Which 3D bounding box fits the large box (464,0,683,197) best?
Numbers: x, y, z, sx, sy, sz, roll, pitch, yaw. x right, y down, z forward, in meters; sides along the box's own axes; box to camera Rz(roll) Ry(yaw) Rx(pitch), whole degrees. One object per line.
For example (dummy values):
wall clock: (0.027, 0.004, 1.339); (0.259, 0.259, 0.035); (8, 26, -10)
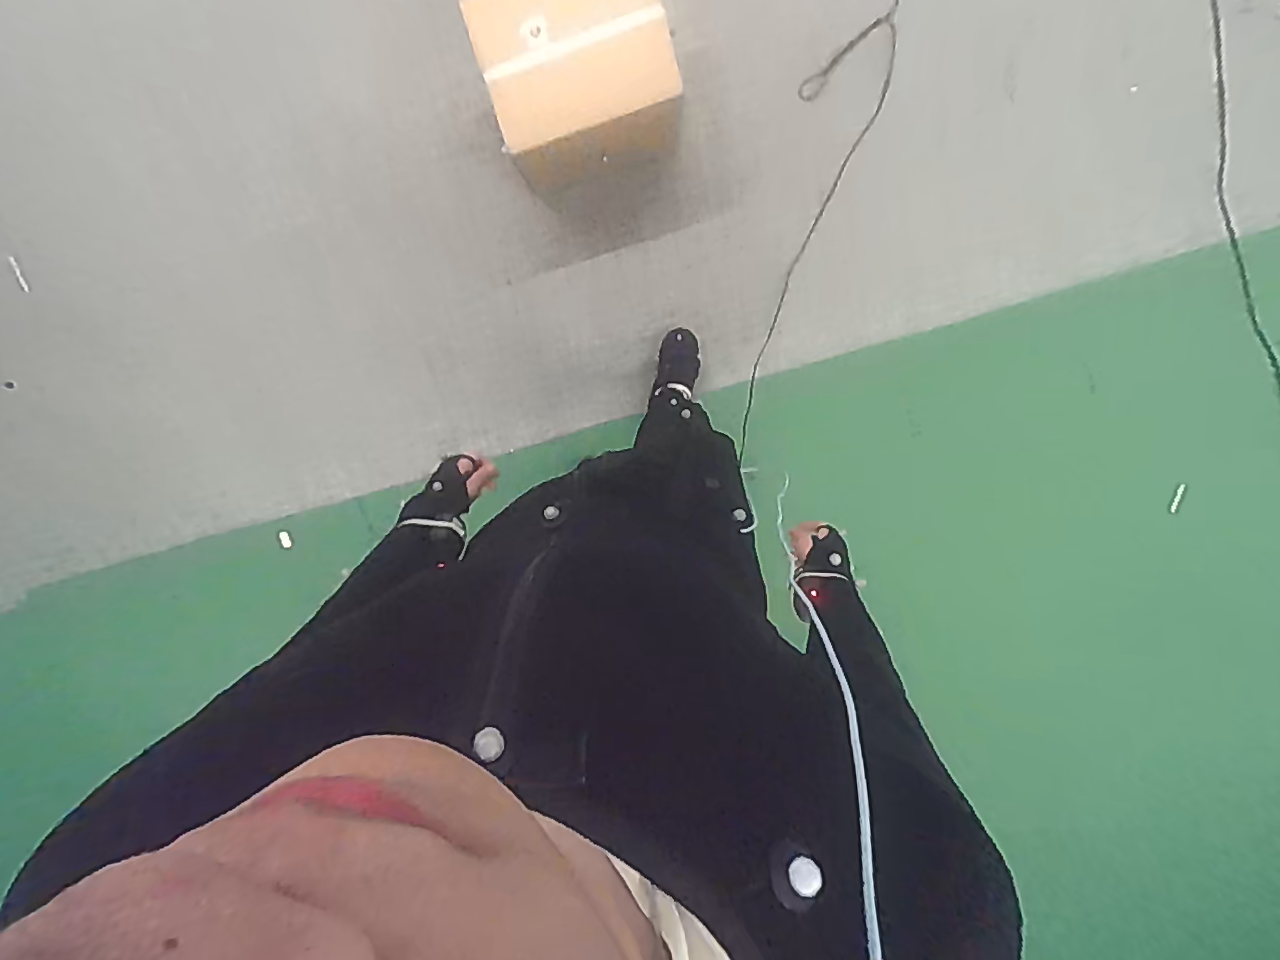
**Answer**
large box: (-0.134, -0.944, 1.297); (0.408, 0.320, 0.320); (-17, 100, 6)
